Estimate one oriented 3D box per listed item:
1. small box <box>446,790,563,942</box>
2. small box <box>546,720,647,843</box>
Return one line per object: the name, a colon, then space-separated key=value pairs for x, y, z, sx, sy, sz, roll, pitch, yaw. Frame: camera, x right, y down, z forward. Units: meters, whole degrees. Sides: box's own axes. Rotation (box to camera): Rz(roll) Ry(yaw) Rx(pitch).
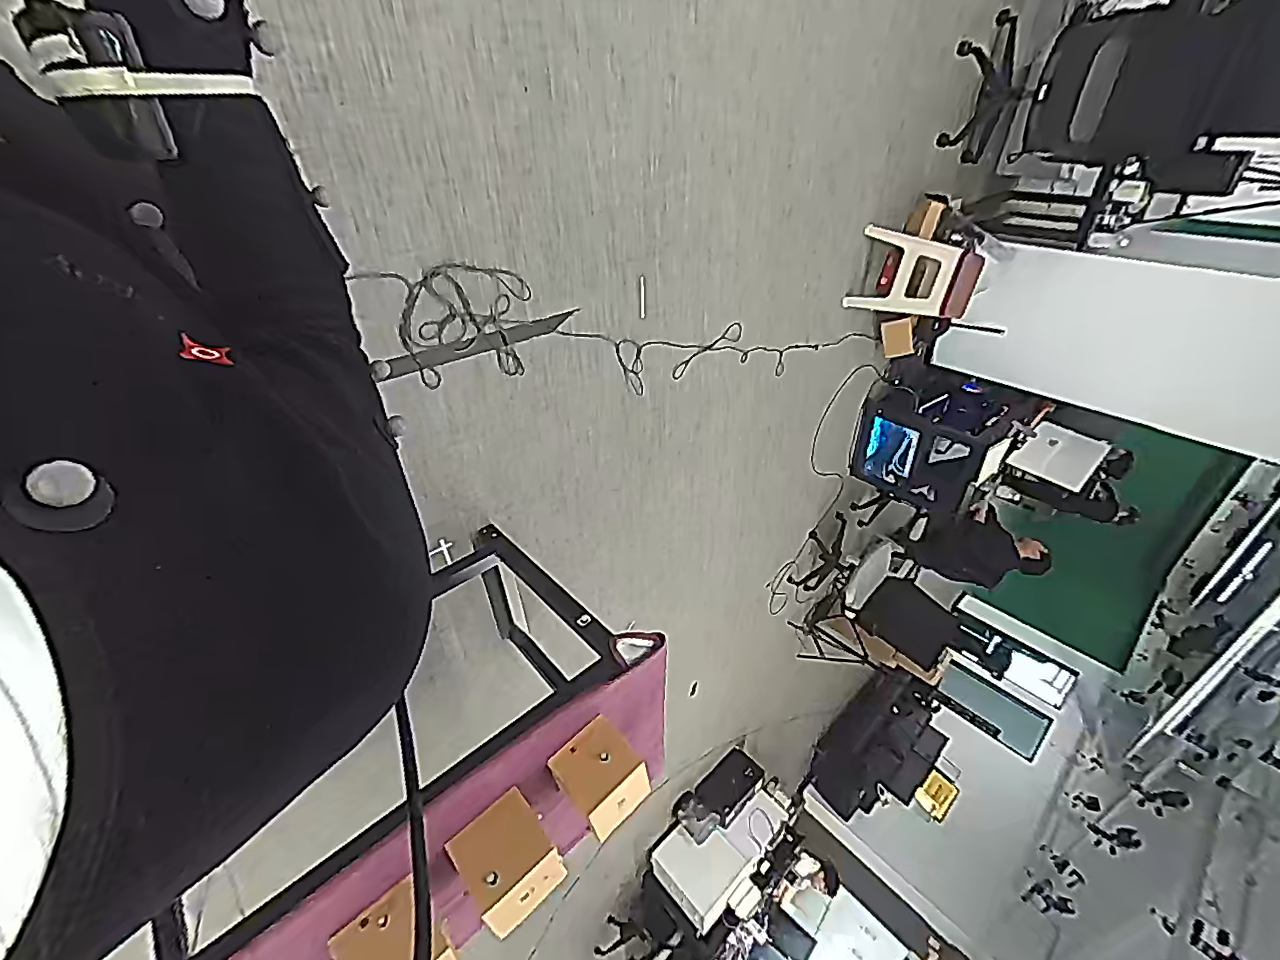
small box: x=-0.294 y=0.819 z=1.159 sx=0.179 sy=0.176 sz=0.168 roll=-31 pitch=135 yaw=-31
small box: x=-0.105 y=0.713 z=1.298 sx=0.168 sy=0.176 sz=0.179 roll=-34 pitch=136 yaw=-28
